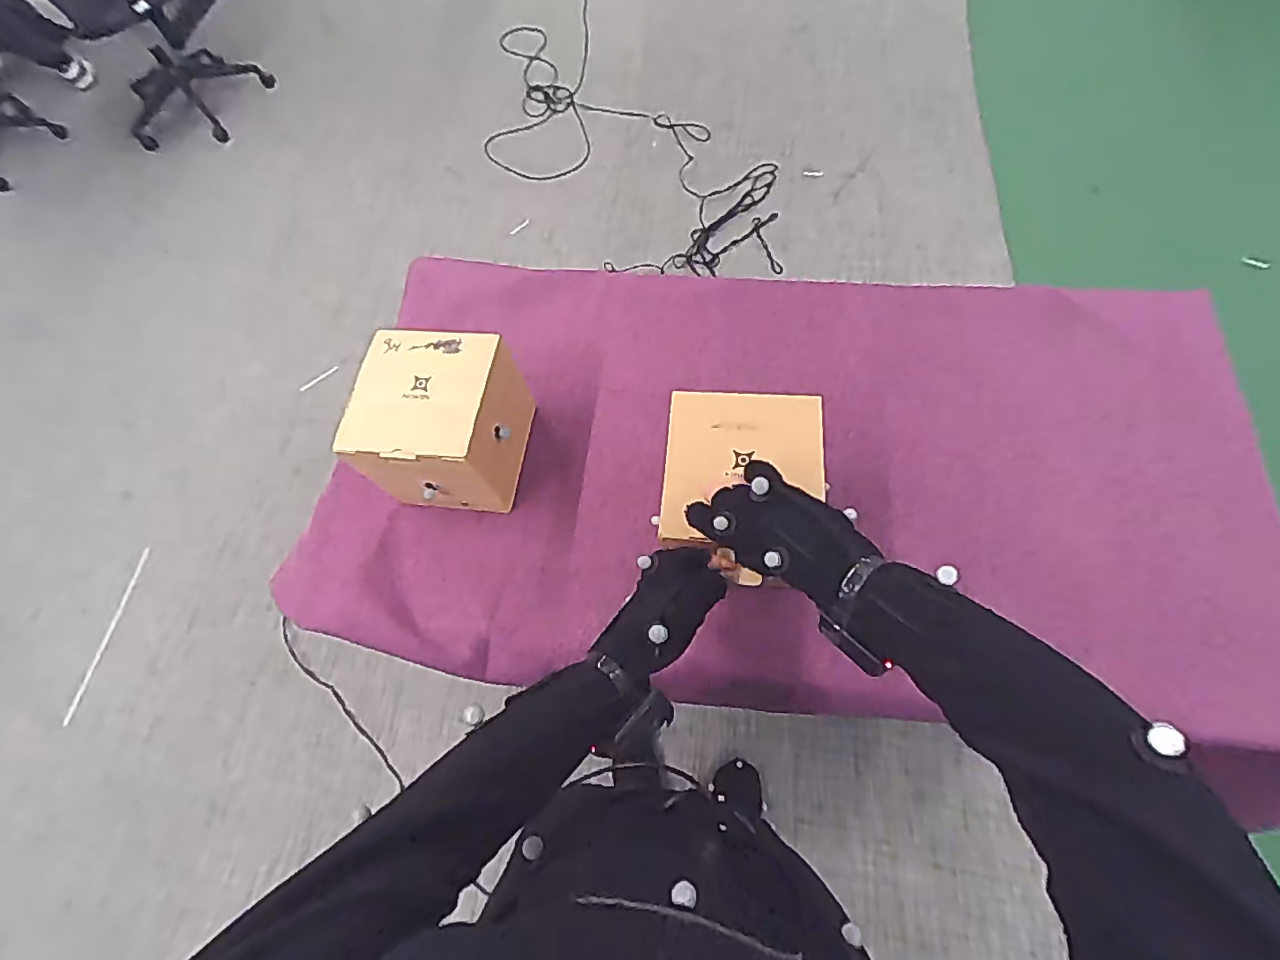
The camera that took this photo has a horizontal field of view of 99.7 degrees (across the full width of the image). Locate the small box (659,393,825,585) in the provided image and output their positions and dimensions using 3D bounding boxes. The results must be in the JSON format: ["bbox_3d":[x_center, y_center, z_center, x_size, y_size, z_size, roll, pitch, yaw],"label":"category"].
[{"bbox_3d":[0.117,0.018,0.639,0.168,0.176,0.179,4,66,7],"label":"small box"}]

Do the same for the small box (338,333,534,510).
[{"bbox_3d":[-0.251,-0.070,0.715,0.168,0.176,0.179,4,67,7],"label":"small box"}]
